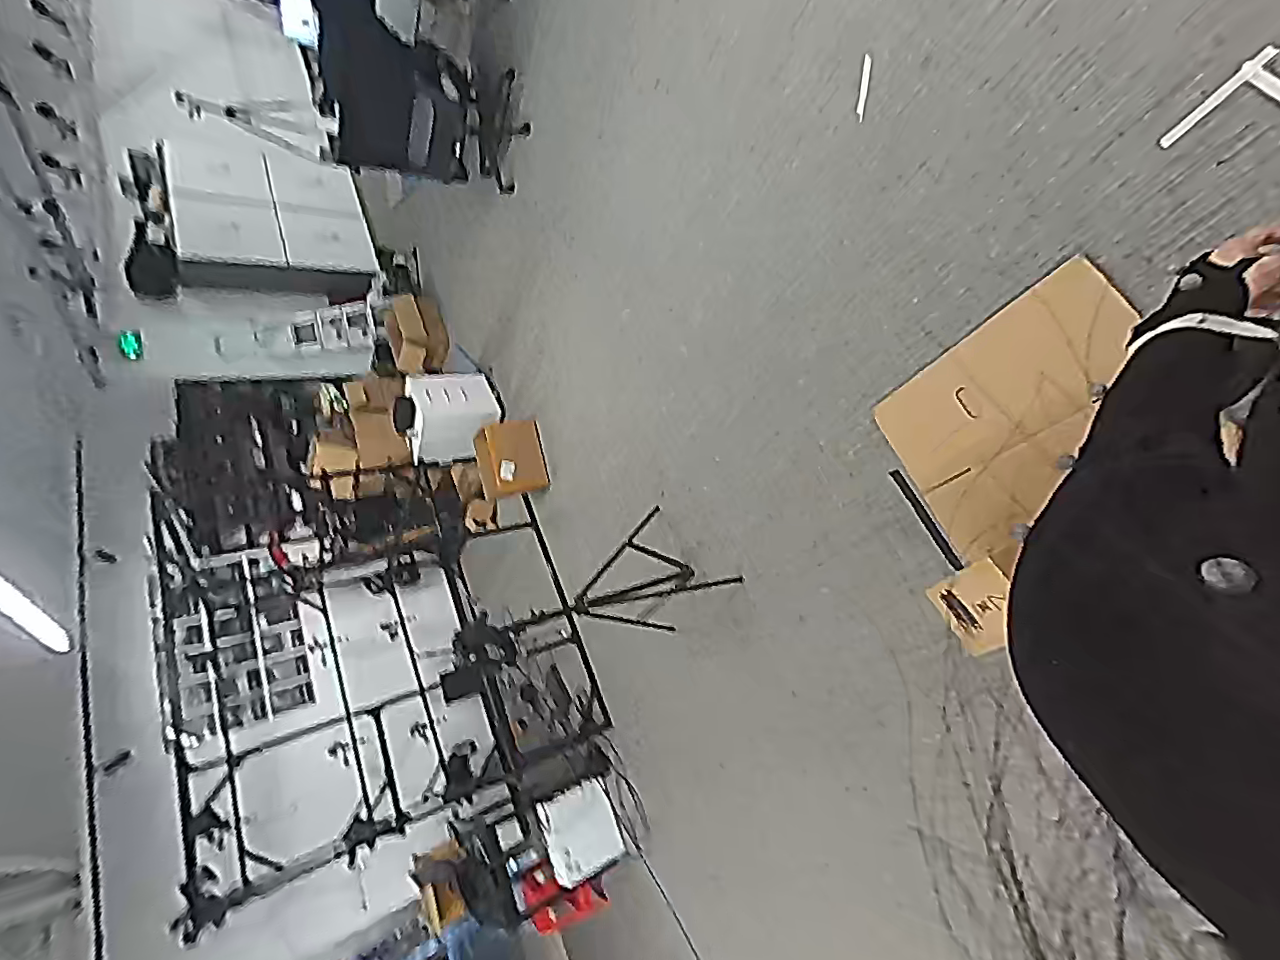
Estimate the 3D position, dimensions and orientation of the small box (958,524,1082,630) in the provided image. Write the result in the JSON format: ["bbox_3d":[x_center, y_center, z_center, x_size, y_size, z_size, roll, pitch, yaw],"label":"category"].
[{"bbox_3d":[0.916,0.228,1.286,0.168,0.176,0.179,59,140,26],"label":"small box"}]
